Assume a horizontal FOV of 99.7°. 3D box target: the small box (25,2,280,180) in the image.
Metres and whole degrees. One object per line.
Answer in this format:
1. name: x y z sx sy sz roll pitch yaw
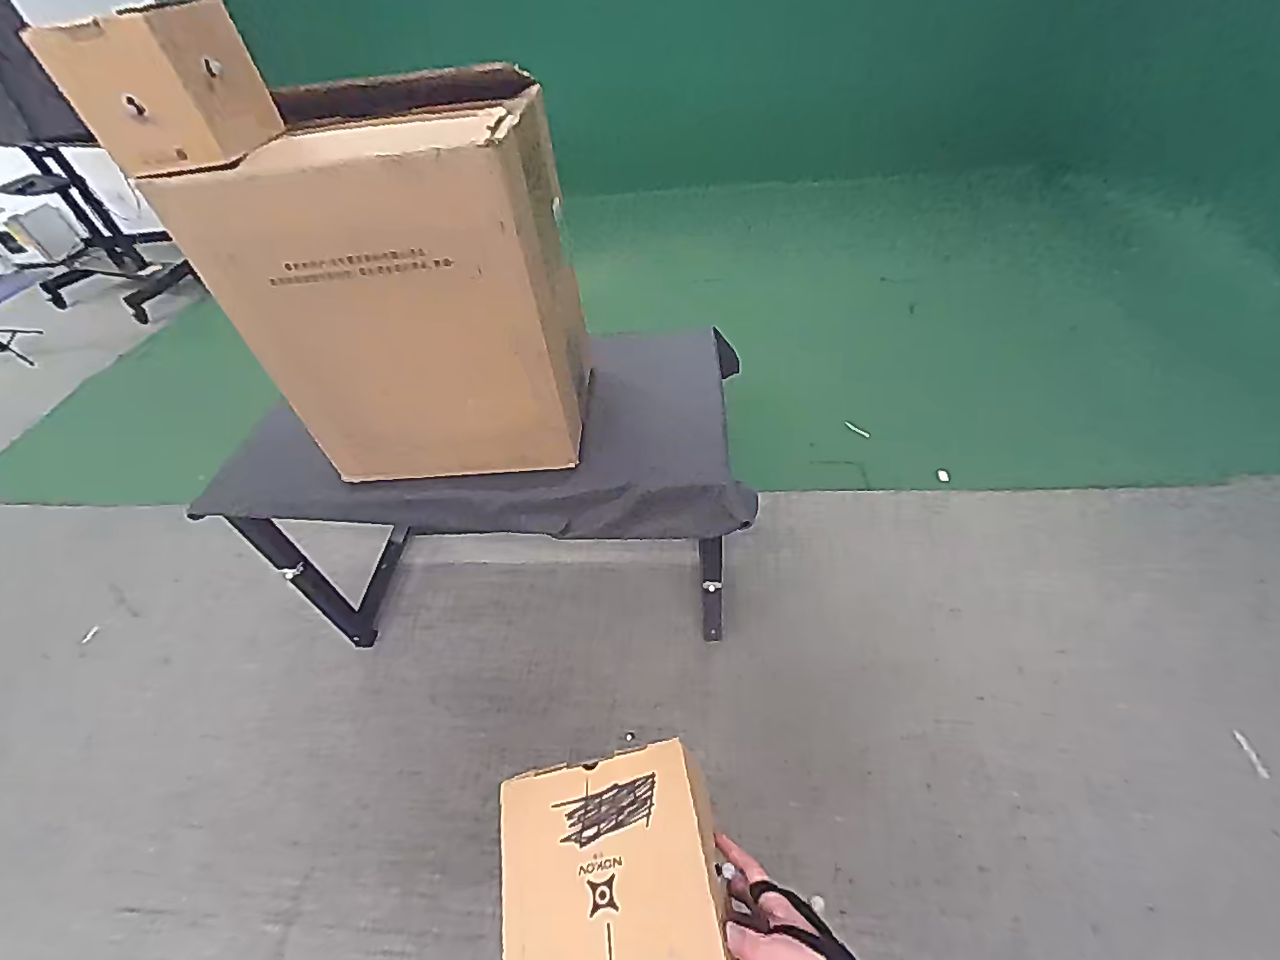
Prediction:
1. small box: -0.663 -0.543 0.768 0.168 0.176 0.179 -4 47 6
